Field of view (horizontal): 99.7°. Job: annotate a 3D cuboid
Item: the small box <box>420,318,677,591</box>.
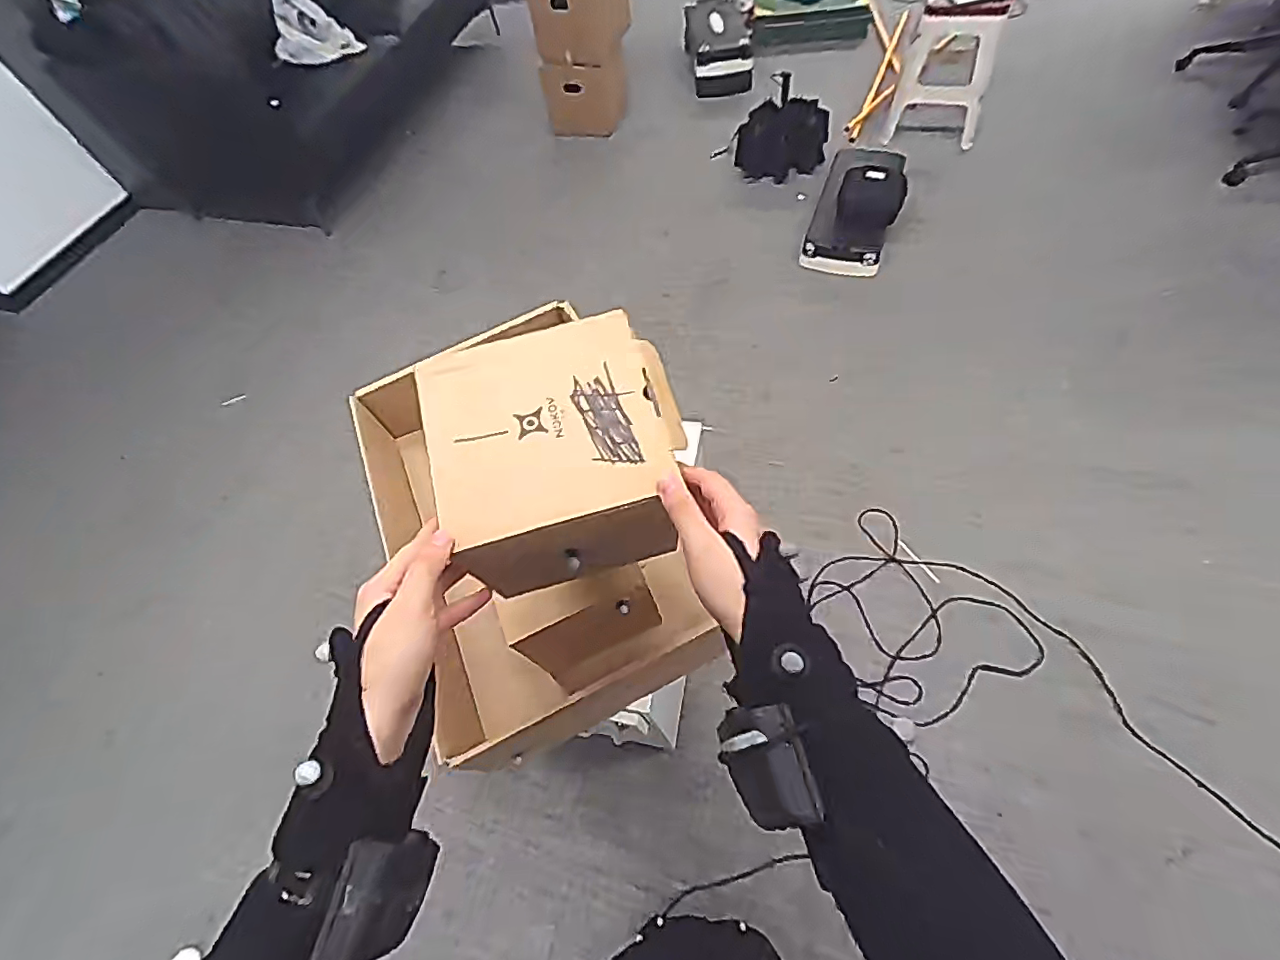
[{"bbox_3d":[-0.075,-0.013,0.494,0.179,0.176,0.168,-16,67,-4],"label":"small box"}]
